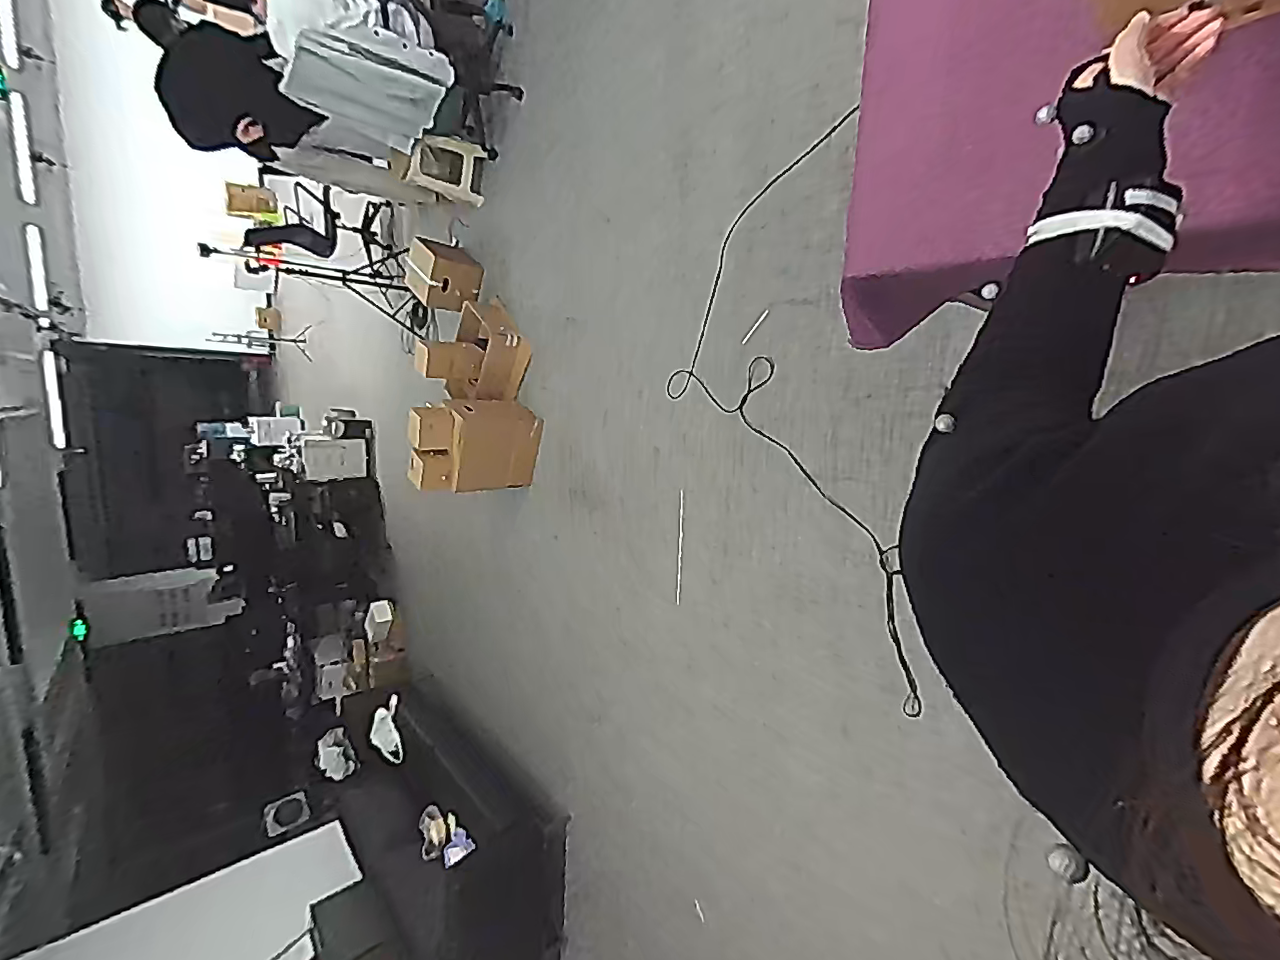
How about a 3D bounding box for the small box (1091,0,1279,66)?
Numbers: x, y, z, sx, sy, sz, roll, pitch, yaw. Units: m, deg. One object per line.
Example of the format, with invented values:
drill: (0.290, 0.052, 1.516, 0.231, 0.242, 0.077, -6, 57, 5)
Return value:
small box: (0.533, -0.534, 0.492, 0.168, 0.176, 0.179, 14, 104, 47)
